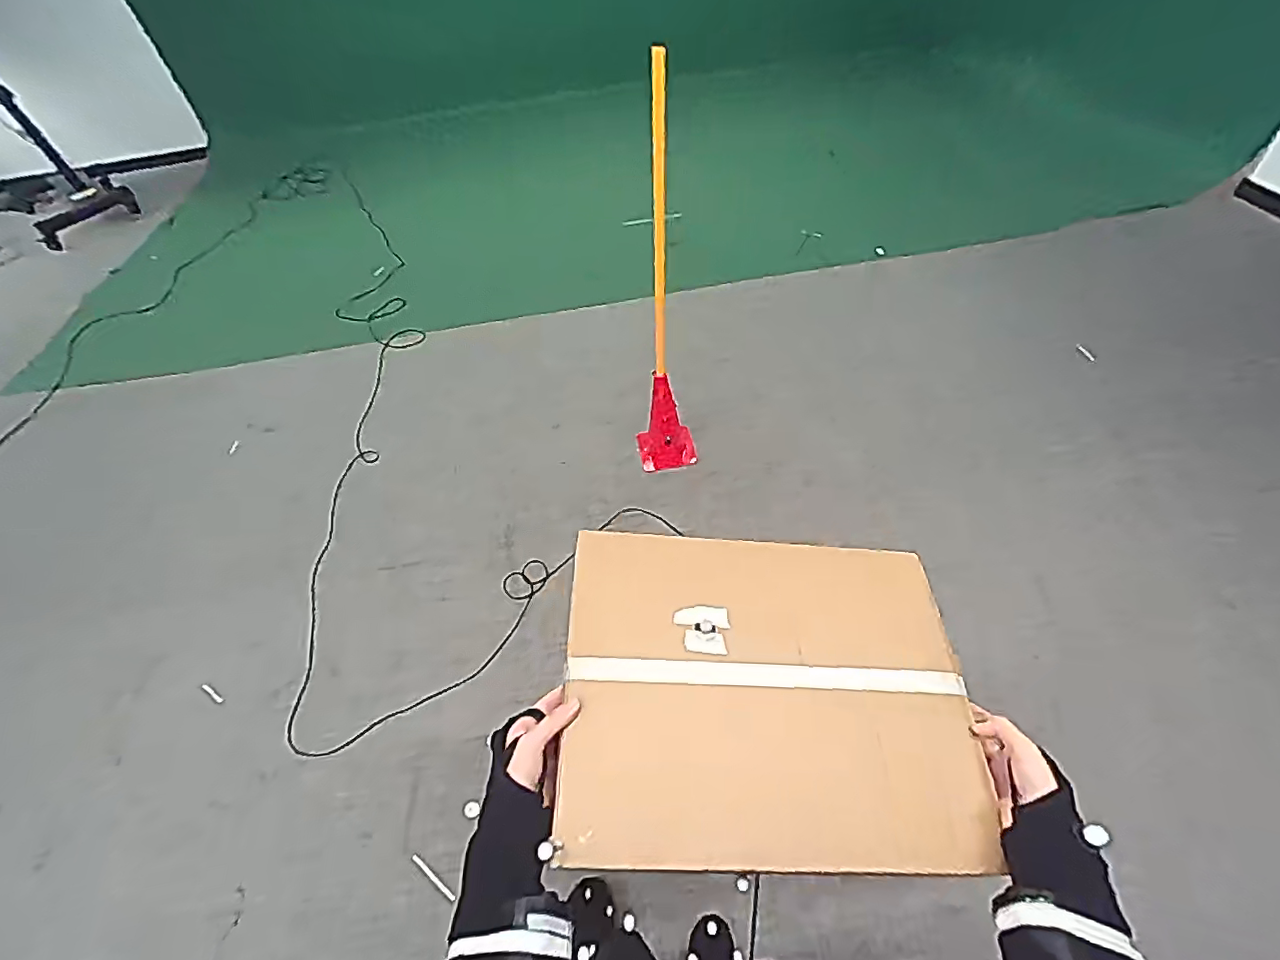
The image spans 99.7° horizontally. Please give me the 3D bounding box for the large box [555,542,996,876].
[{"bbox_3d":[0.114,0.292,0.675,0.408,0.320,0.320,4,55,-4],"label":"large box"}]
